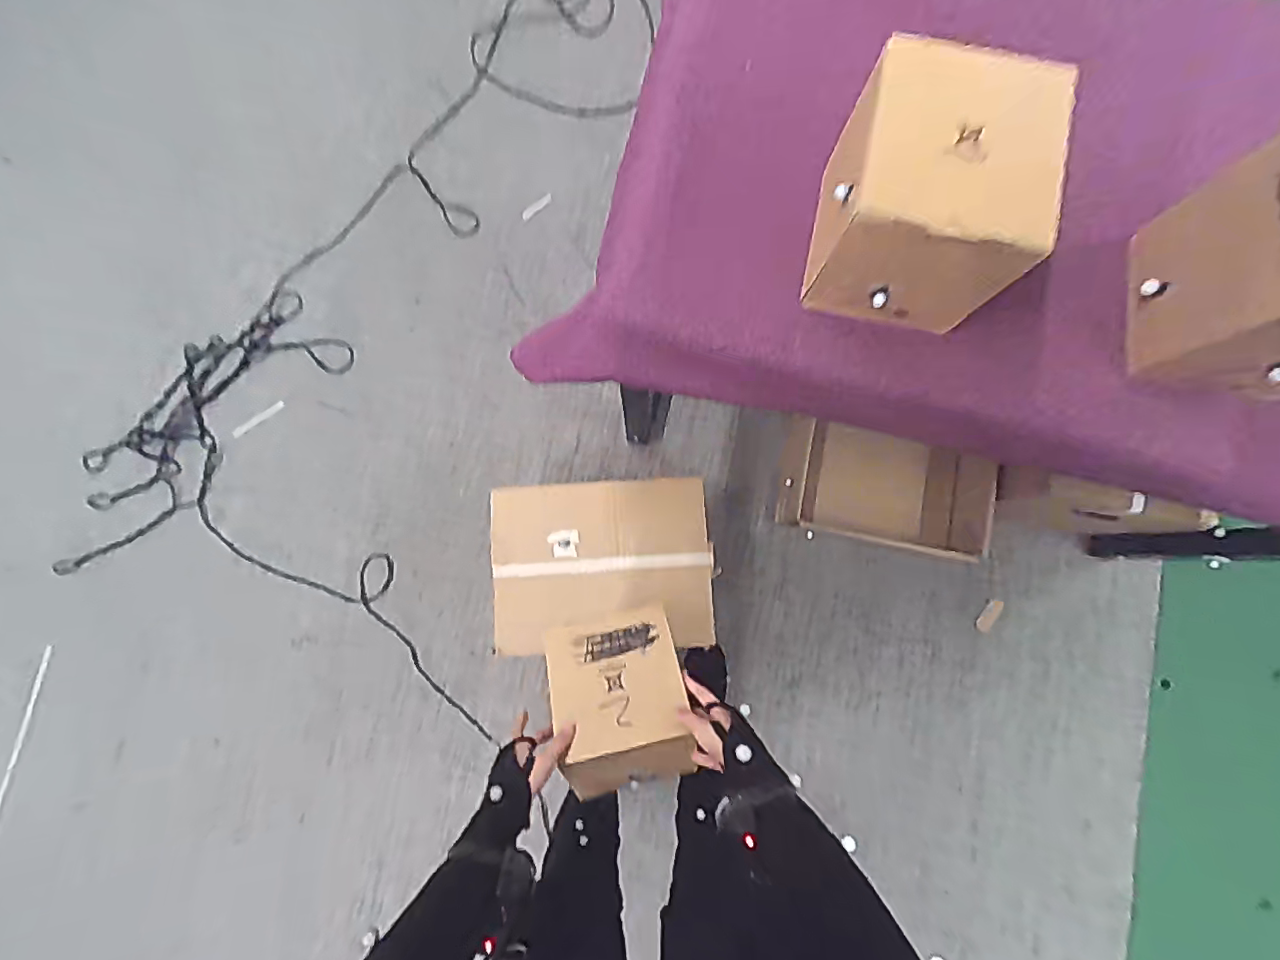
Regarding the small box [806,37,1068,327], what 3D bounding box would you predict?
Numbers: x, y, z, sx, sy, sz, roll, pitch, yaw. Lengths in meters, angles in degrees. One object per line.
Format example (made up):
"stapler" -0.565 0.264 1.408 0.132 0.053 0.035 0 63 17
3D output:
"small box" 0.280 -0.282 0.545 0.168 0.176 0.179 12 82 2
